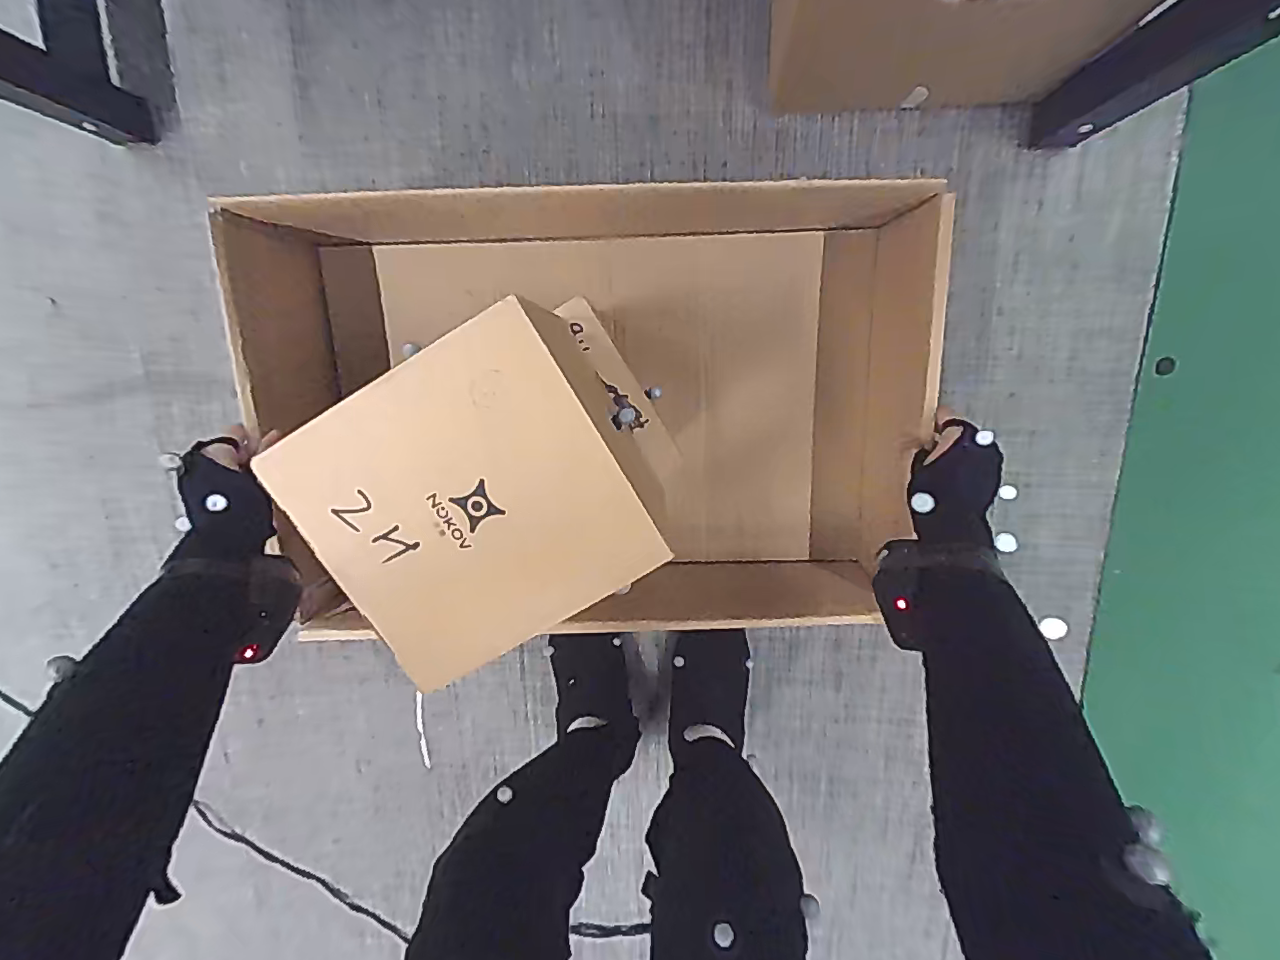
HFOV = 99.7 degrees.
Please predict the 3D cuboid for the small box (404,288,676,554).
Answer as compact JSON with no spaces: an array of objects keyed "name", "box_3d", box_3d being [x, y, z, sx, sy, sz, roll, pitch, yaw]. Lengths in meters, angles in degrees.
[{"name":"small box","box_3d":[-0.082,-0.061,0.529,0.179,0.176,0.168,-32,103,7]}]
